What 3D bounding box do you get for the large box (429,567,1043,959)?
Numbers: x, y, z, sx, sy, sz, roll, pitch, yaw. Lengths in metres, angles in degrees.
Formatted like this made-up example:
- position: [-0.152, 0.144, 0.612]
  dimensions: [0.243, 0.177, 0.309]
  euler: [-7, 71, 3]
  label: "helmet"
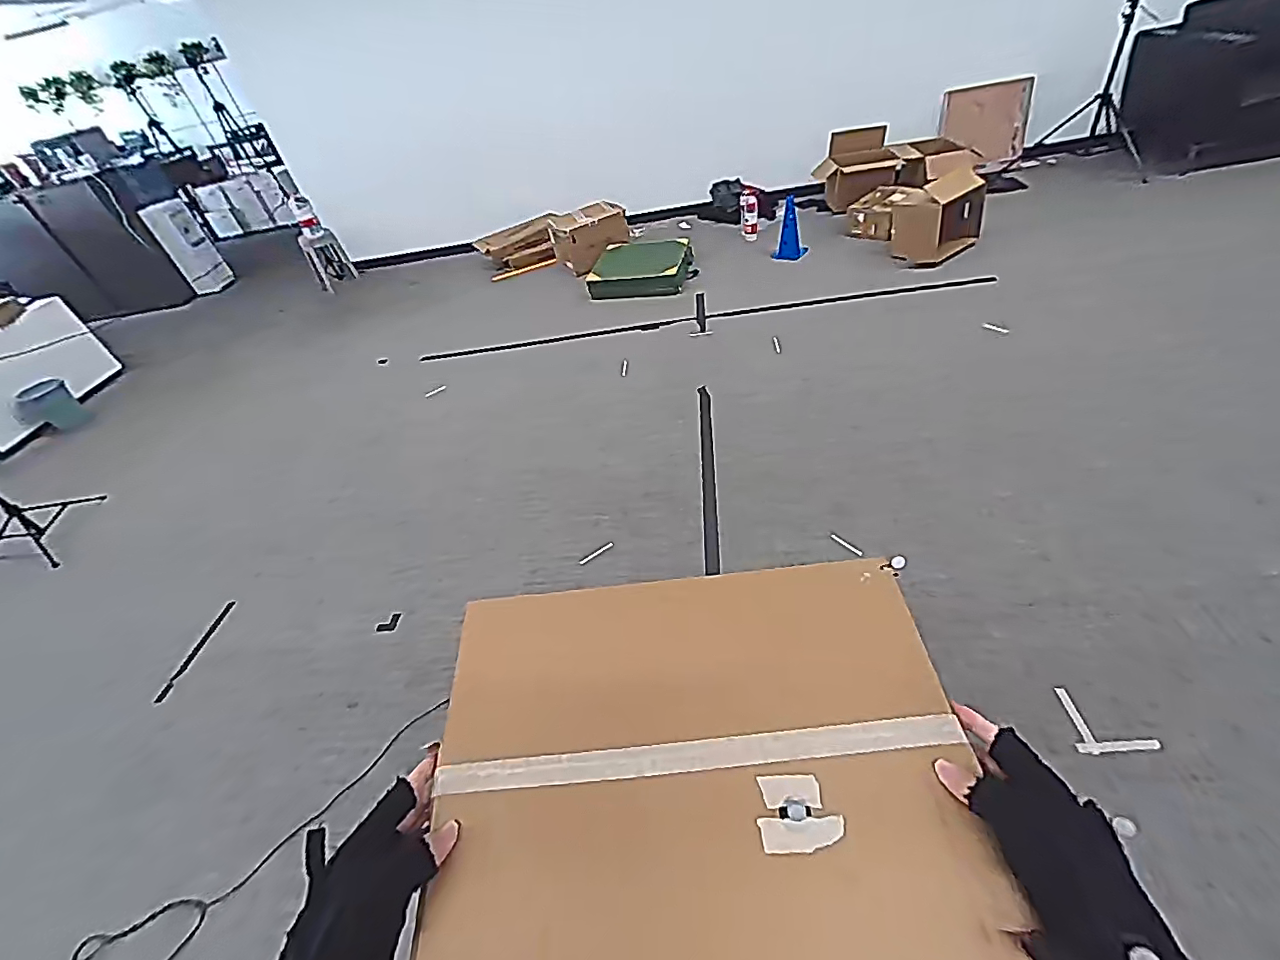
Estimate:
- position: [0.059, 0.320, 0.542]
  dimensions: [0.408, 0.320, 0.320]
  euler: [-7, 49, 2]
  label: "large box"
